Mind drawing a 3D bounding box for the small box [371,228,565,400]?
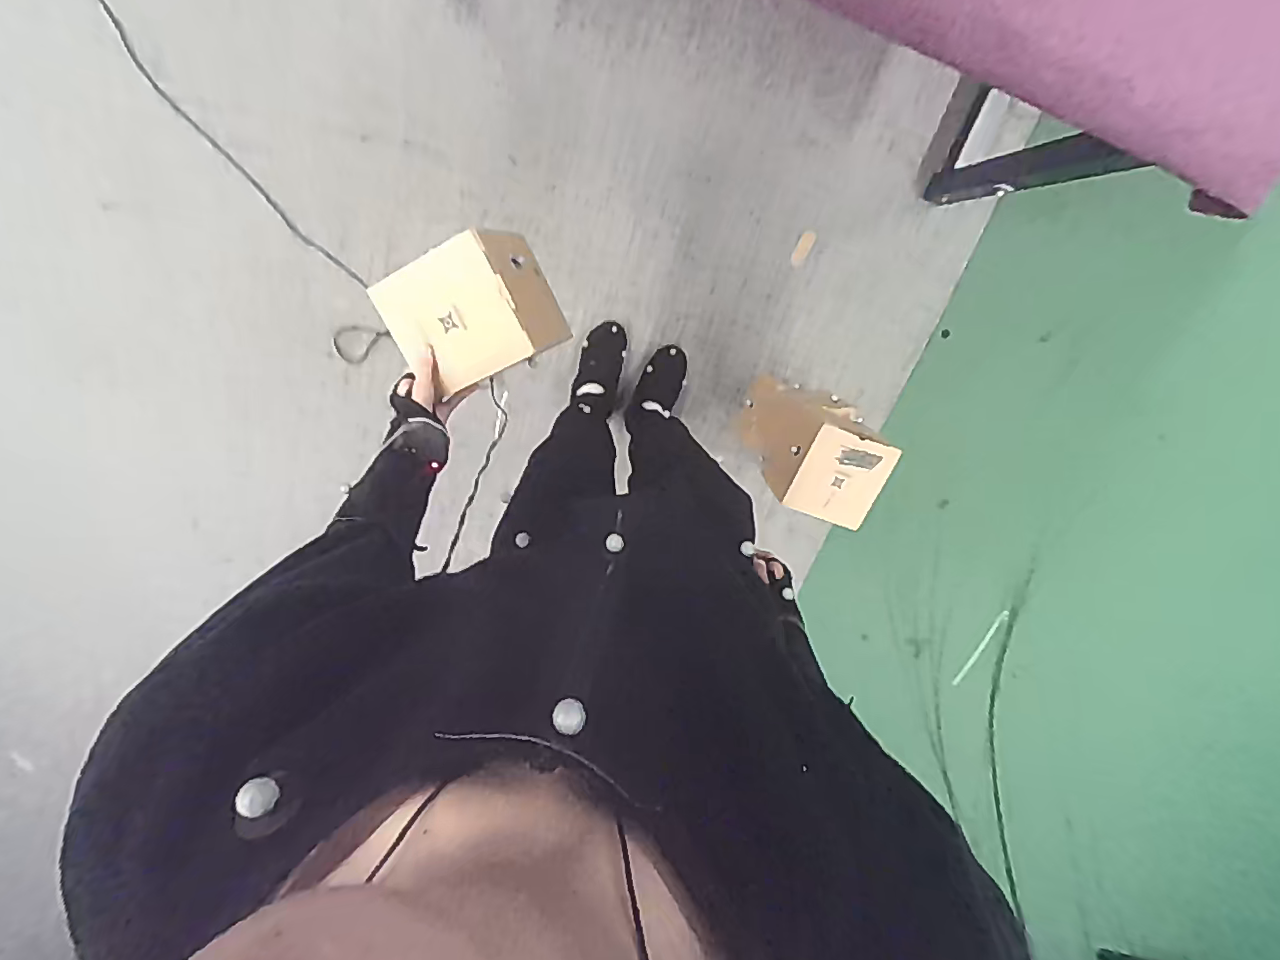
[{"bbox_3d":[-0.222,-0.234,0.760,0.179,0.176,0.168,-20,106,18],"label":"small box"}]

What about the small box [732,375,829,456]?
[{"bbox_3d":[0.356,-0.152,1.375,0.179,0.176,0.168,27,109,-11],"label":"small box"}]

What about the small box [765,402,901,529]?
[{"bbox_3d":[0.366,-0.036,1.067,0.168,0.176,0.179,19,111,-9],"label":"small box"}]
